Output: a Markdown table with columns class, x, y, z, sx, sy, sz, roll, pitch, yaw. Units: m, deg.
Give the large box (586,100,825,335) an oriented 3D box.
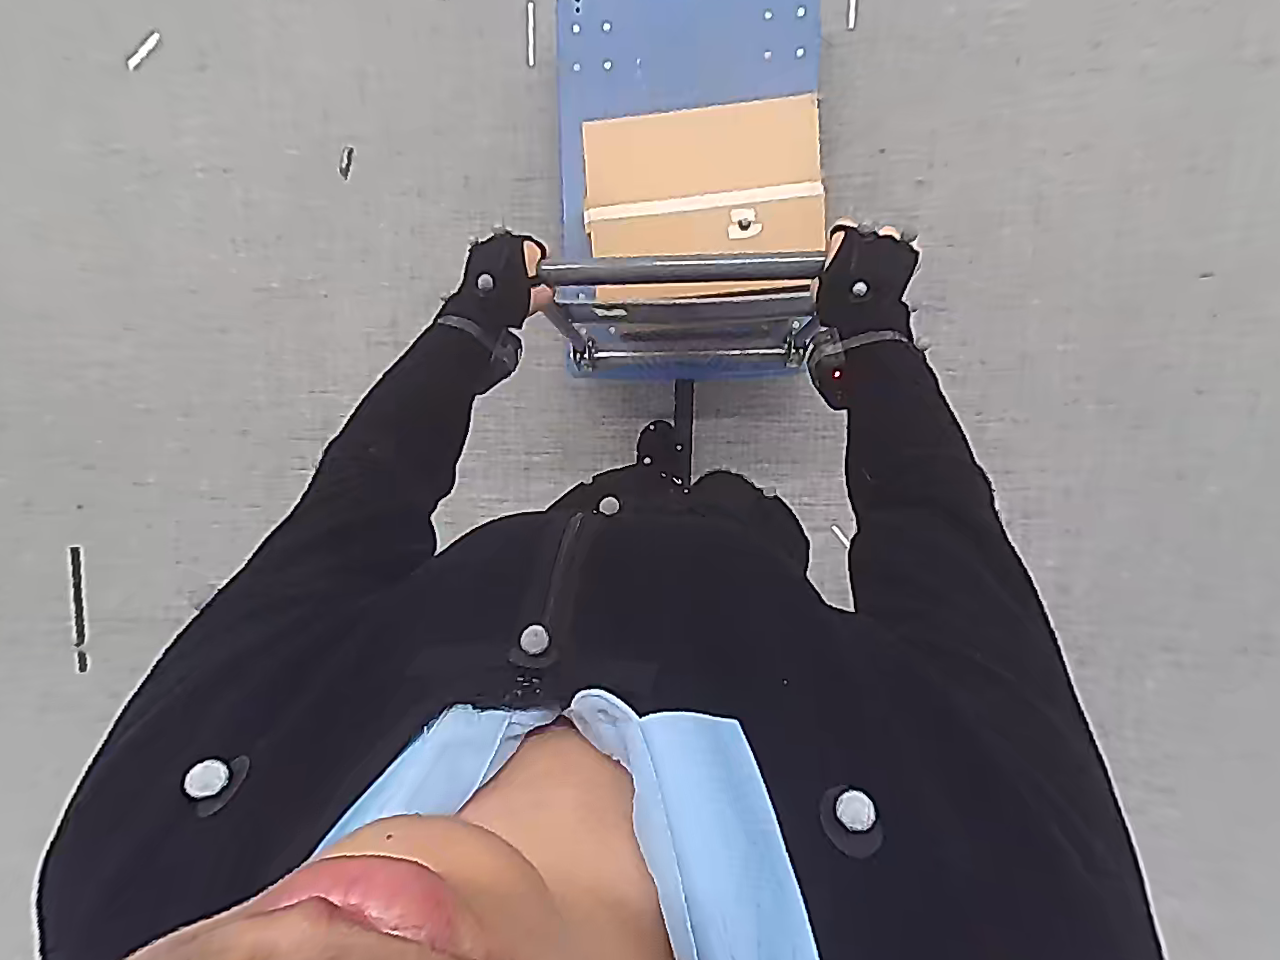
| class | x | y | z | sx | sy | sz | roll | pitch | yaw |
| --- | --- | --- | --- | --- | --- | --- | --- | --- | --- |
| large box | 0.121 | -0.494 | 1.095 | 0.408 | 0.320 | 0.320 | -4 | 96 | 3 |
